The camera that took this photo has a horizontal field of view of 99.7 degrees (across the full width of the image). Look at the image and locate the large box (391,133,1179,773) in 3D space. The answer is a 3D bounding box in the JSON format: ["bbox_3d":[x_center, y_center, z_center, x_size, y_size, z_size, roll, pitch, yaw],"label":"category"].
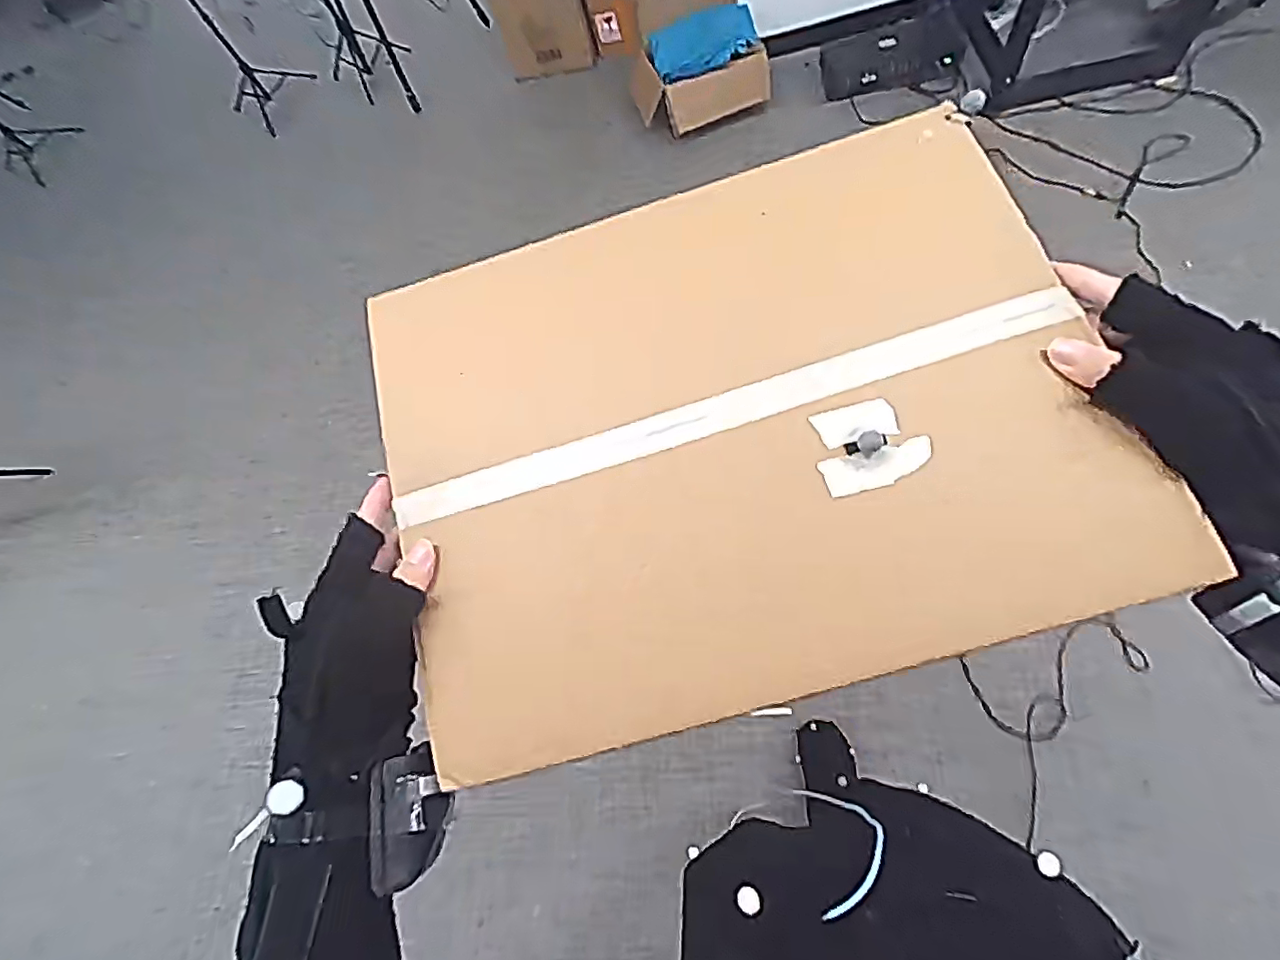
[{"bbox_3d":[0.070,0.003,0.473,0.408,0.320,0.320,-18,74,3],"label":"large box"}]
